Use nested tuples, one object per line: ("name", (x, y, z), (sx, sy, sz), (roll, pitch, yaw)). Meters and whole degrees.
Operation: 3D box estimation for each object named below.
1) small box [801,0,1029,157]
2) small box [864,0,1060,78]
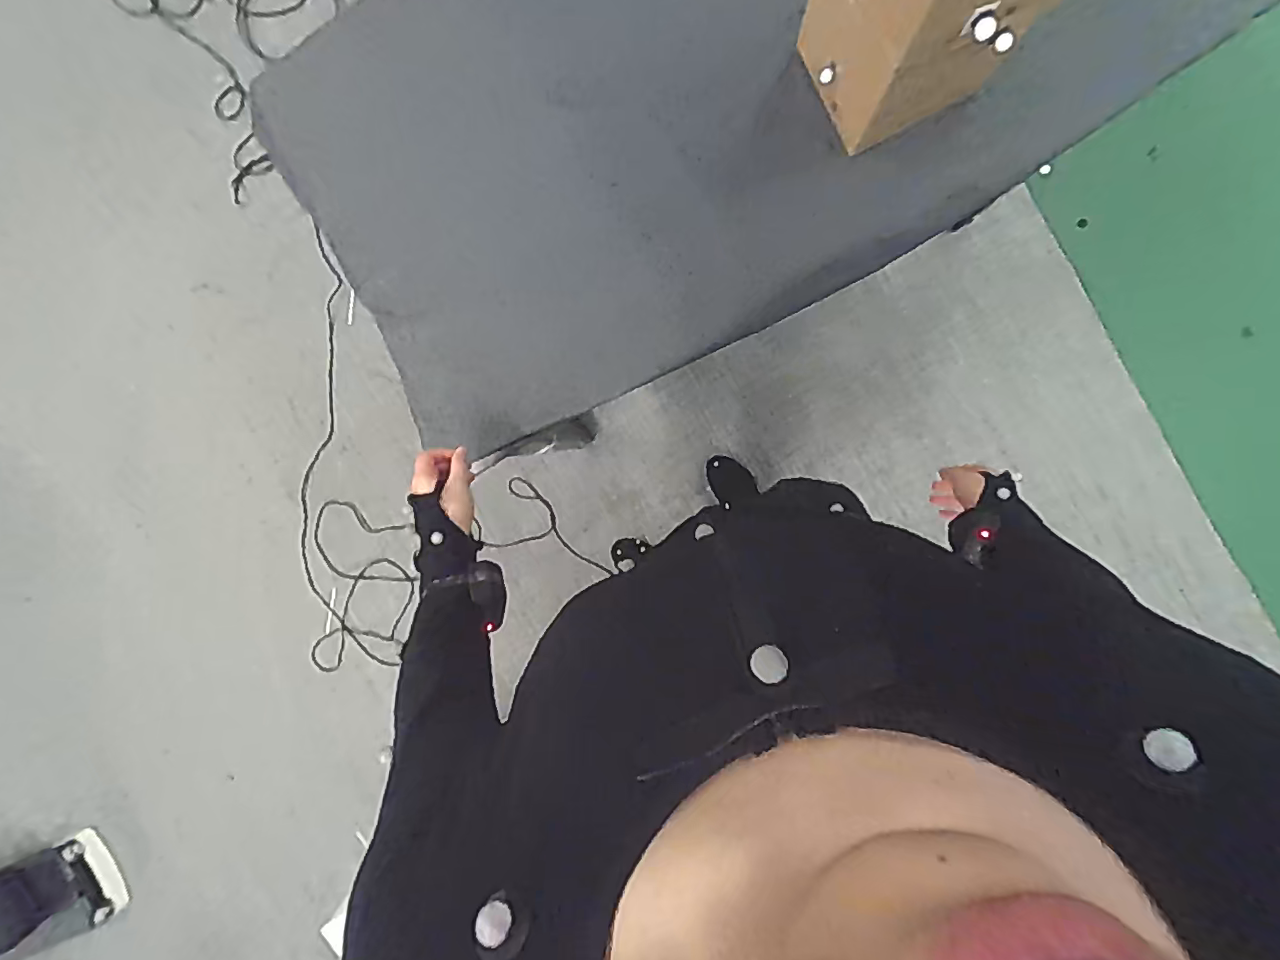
("small box", (0.306, -0.516, 0.610), (0.179, 0.176, 0.168), (-25, 90, 7))
("small box", (0.287, -0.498, 0.450), (0.168, 0.176, 0.179), (-21, 92, 8))
